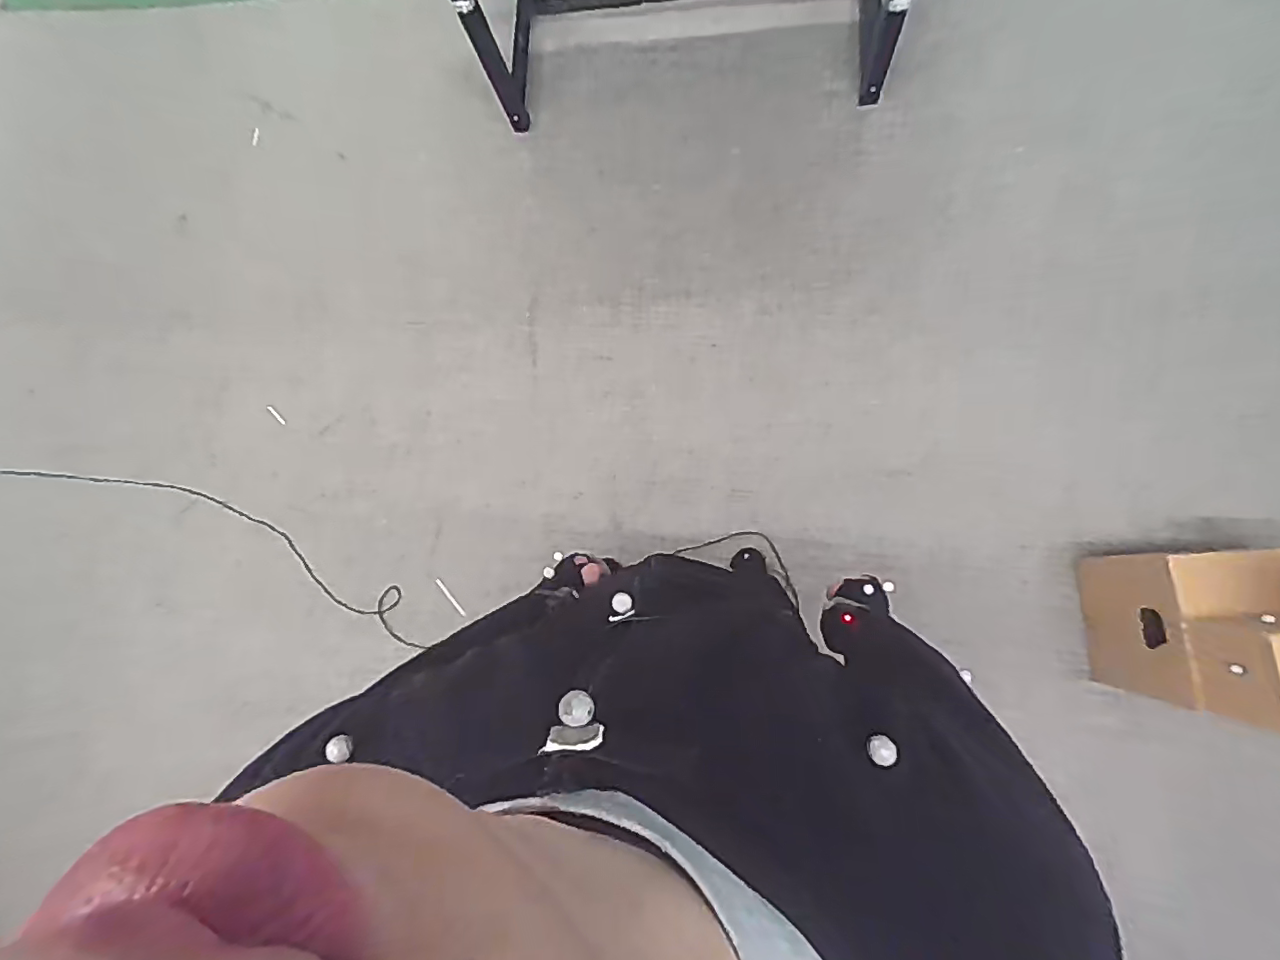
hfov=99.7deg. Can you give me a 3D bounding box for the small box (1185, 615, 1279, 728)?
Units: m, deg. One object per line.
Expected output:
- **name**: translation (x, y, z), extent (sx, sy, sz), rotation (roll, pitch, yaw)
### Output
- **small box**: translation (1.166, 0.343, 0.990), extent (0.168, 0.176, 0.179), rotation (-5, 82, 8)
